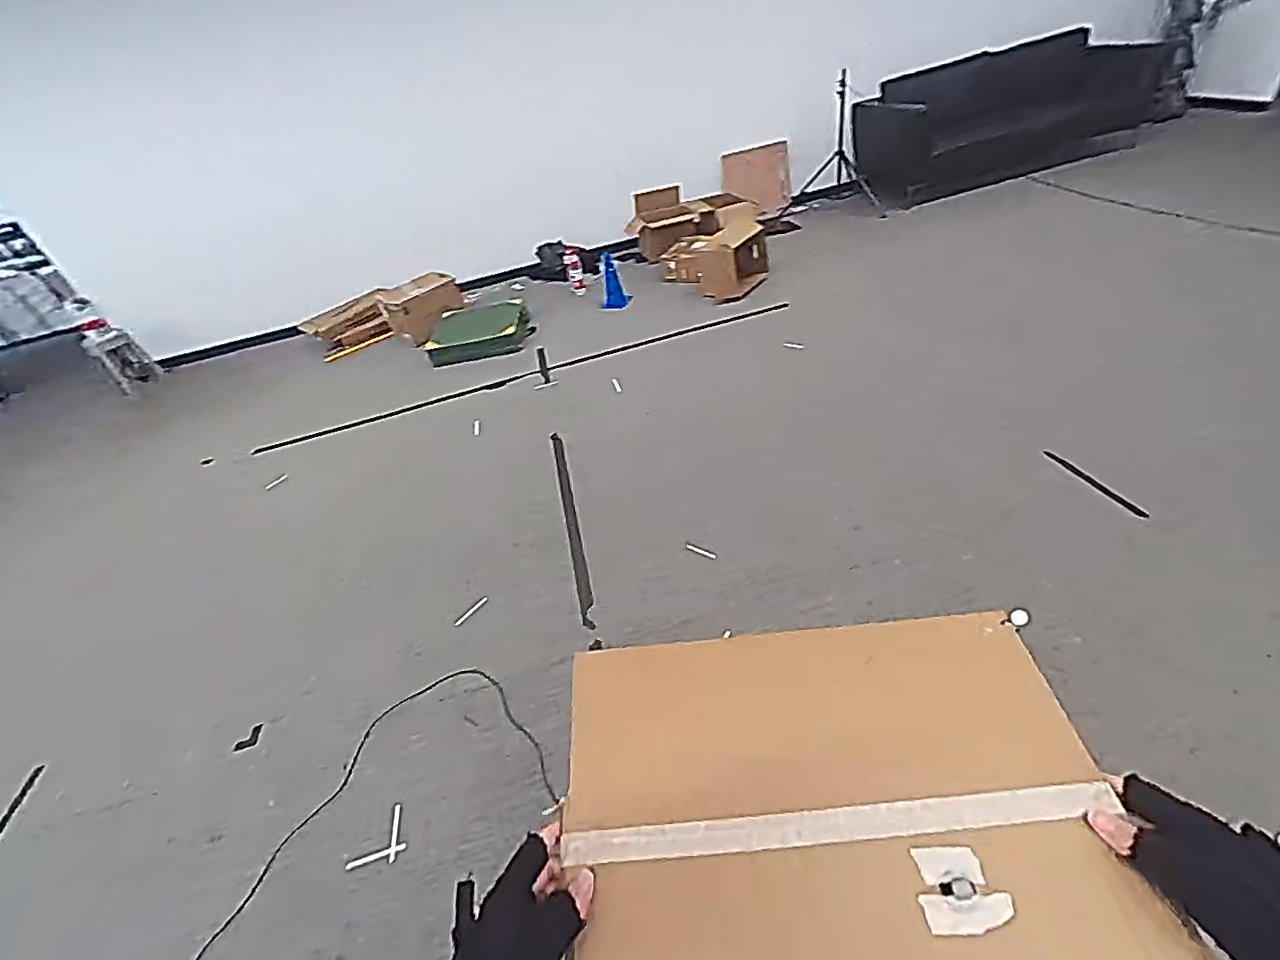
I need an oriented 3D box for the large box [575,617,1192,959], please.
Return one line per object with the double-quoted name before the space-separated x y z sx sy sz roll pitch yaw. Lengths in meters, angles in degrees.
"large box" 0.160 0.367 0.518 0.408 0.320 0.320 -7 46 1
